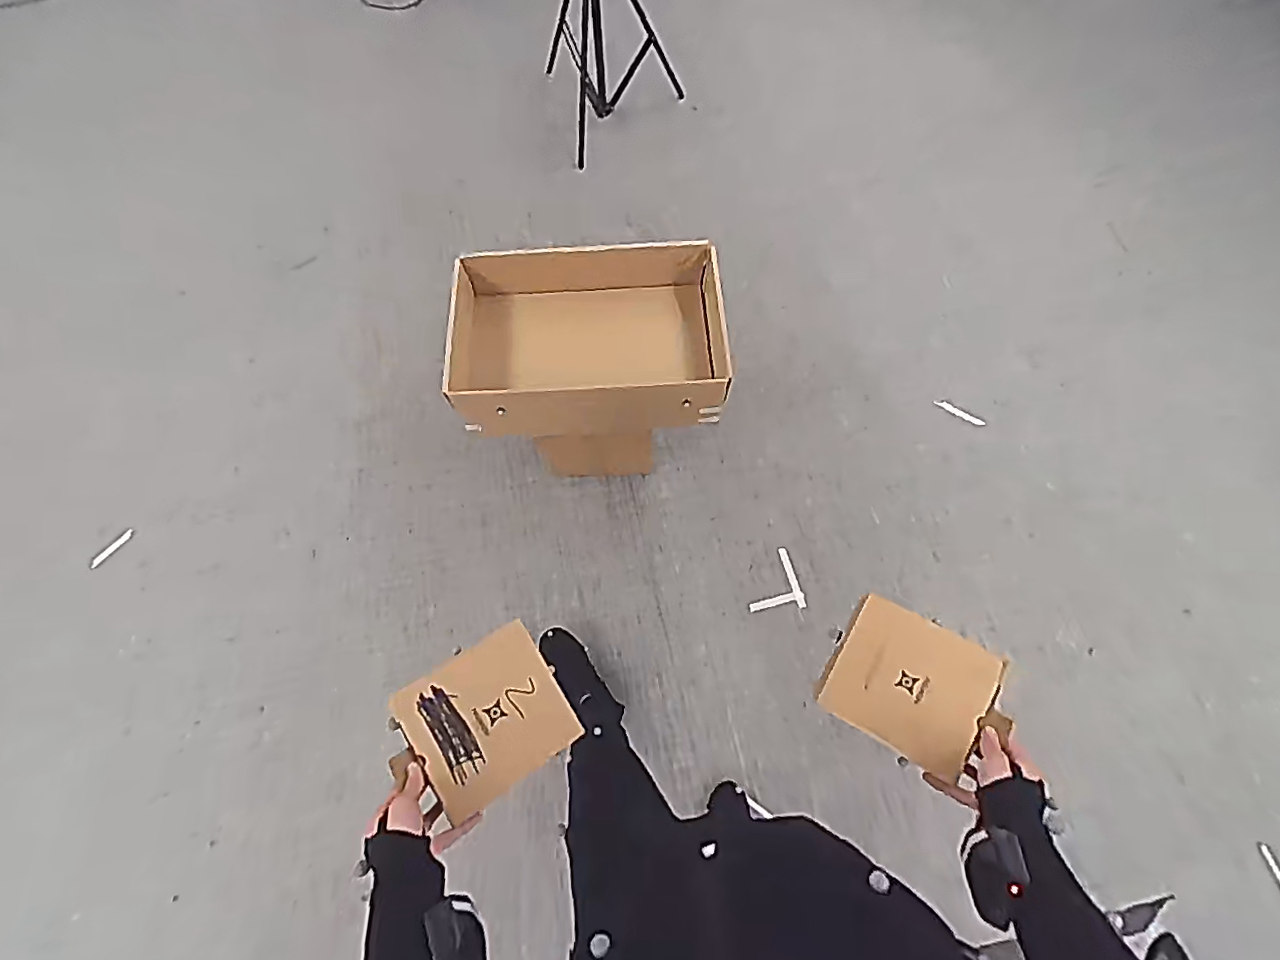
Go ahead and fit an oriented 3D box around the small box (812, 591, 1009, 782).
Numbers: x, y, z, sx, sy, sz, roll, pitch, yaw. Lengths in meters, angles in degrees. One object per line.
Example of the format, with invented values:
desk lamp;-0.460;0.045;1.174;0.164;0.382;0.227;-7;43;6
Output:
small box;0.353;0.271;0.743;0.179;0.176;0.168;26;81;22
